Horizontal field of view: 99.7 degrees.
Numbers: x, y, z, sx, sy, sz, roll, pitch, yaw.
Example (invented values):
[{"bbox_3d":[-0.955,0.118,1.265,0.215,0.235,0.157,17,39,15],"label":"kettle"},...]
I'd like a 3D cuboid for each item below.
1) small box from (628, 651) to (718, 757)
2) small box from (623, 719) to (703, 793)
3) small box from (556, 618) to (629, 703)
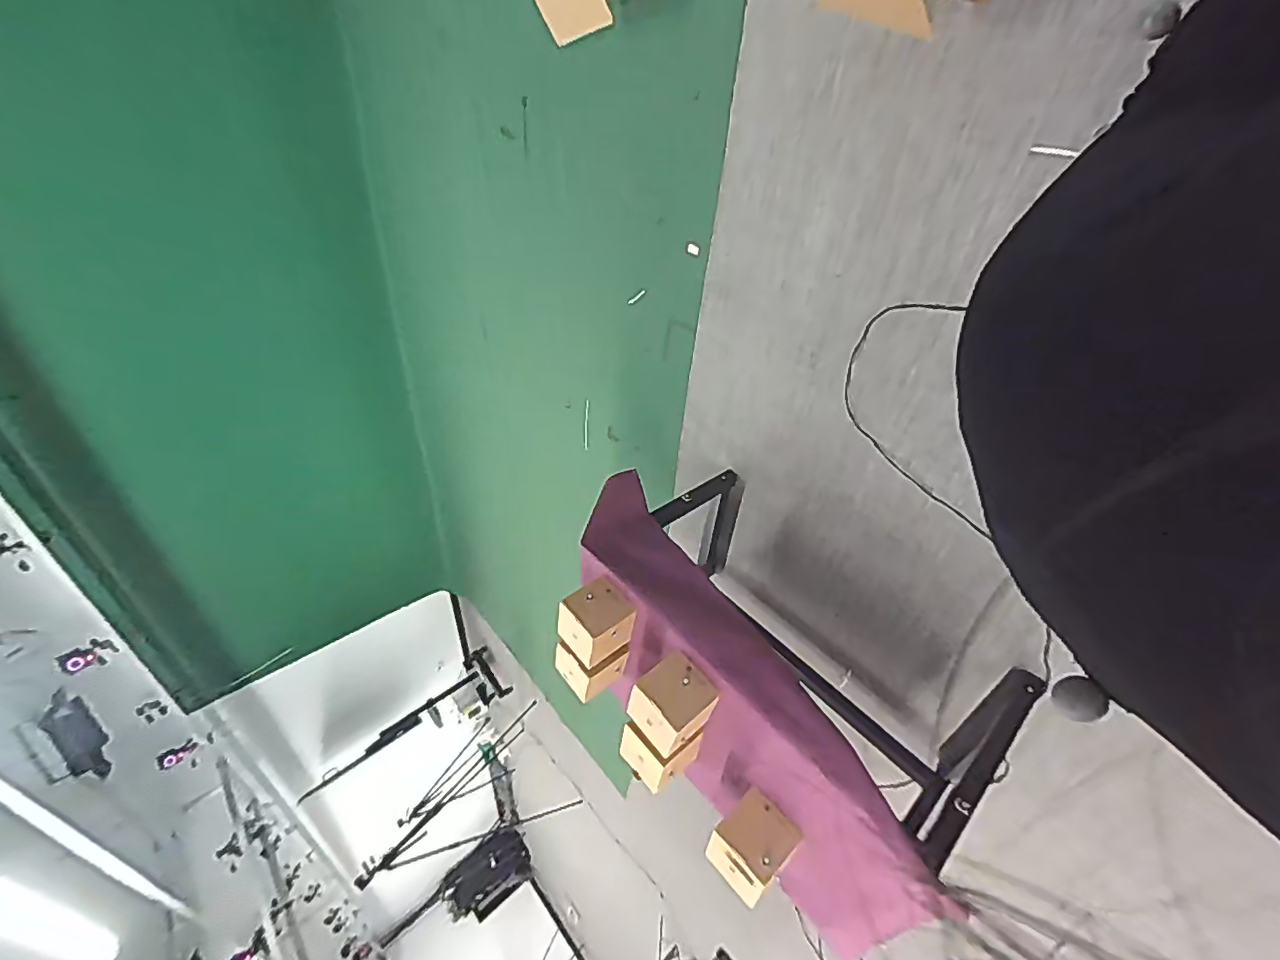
[{"bbox_3d":[0.091,0.608,1.477,0.168,0.176,0.179,41,140,29],"label":"small box"},{"bbox_3d":[0.069,0.782,1.623,0.168,0.176,0.179,37,138,33],"label":"small box"},{"bbox_3d":[-0.157,0.590,1.790,0.168,0.176,0.179,43,140,28],"label":"small box"}]
